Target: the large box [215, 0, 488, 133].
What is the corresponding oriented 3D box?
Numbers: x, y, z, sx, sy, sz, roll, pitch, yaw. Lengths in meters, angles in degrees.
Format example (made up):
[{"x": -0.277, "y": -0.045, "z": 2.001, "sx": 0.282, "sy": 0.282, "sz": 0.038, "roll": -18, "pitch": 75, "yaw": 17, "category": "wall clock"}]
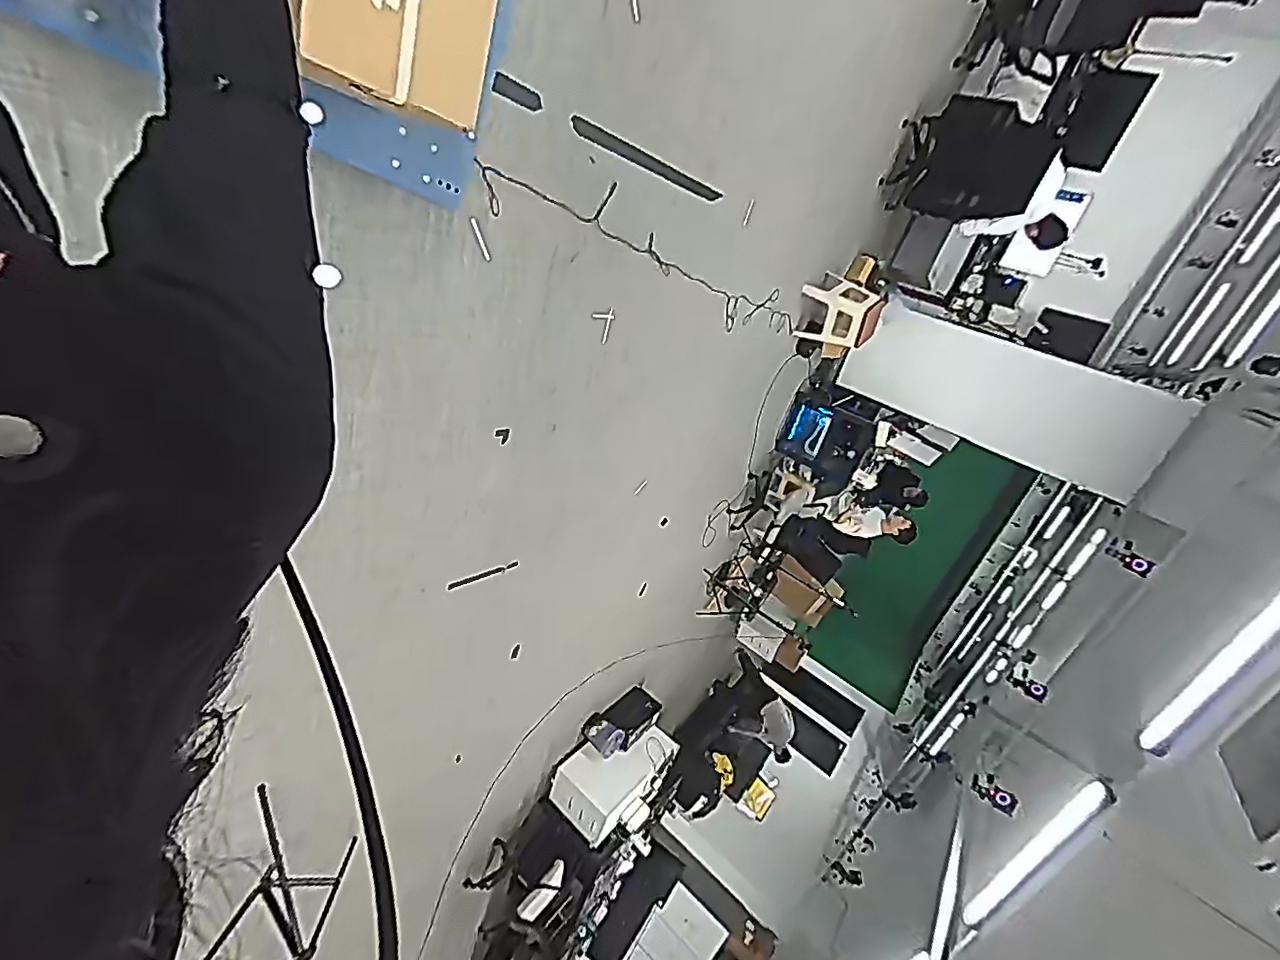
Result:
[{"x": -0.473, "y": -0.889, "z": 0.909, "sx": 0.320, "sy": 0.320, "sz": 0.408, "roll": -12, "pitch": 129, "yaw": -53, "category": "large box"}]
